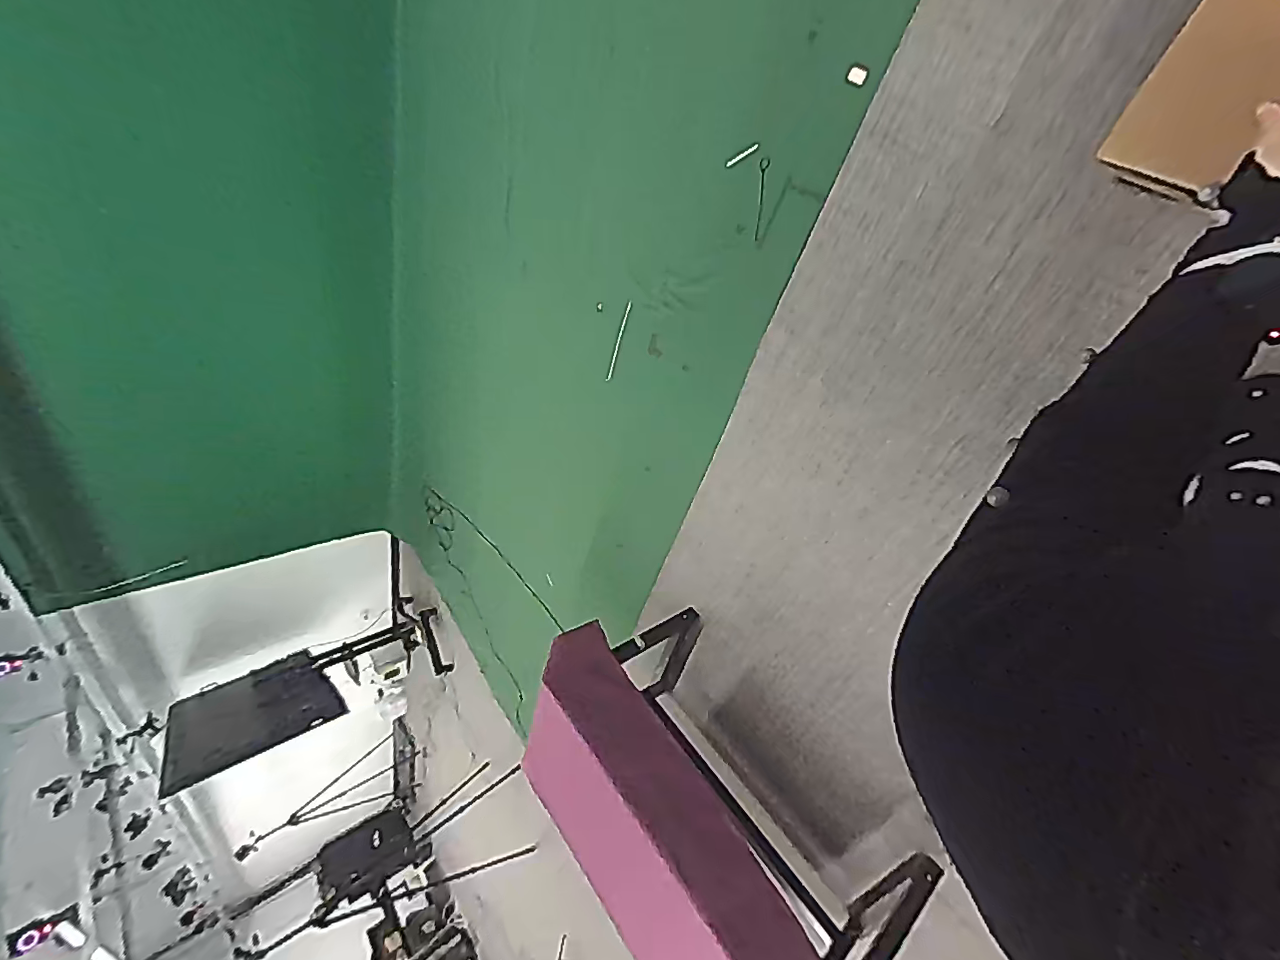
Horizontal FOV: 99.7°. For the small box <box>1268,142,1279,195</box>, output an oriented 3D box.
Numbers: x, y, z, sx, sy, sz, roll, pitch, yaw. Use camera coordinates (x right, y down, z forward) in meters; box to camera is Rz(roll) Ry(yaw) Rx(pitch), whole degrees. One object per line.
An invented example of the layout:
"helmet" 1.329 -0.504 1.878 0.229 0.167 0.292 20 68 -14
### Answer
"small box" 0.740 -0.335 0.490 0.168 0.176 0.179 48 134 27
